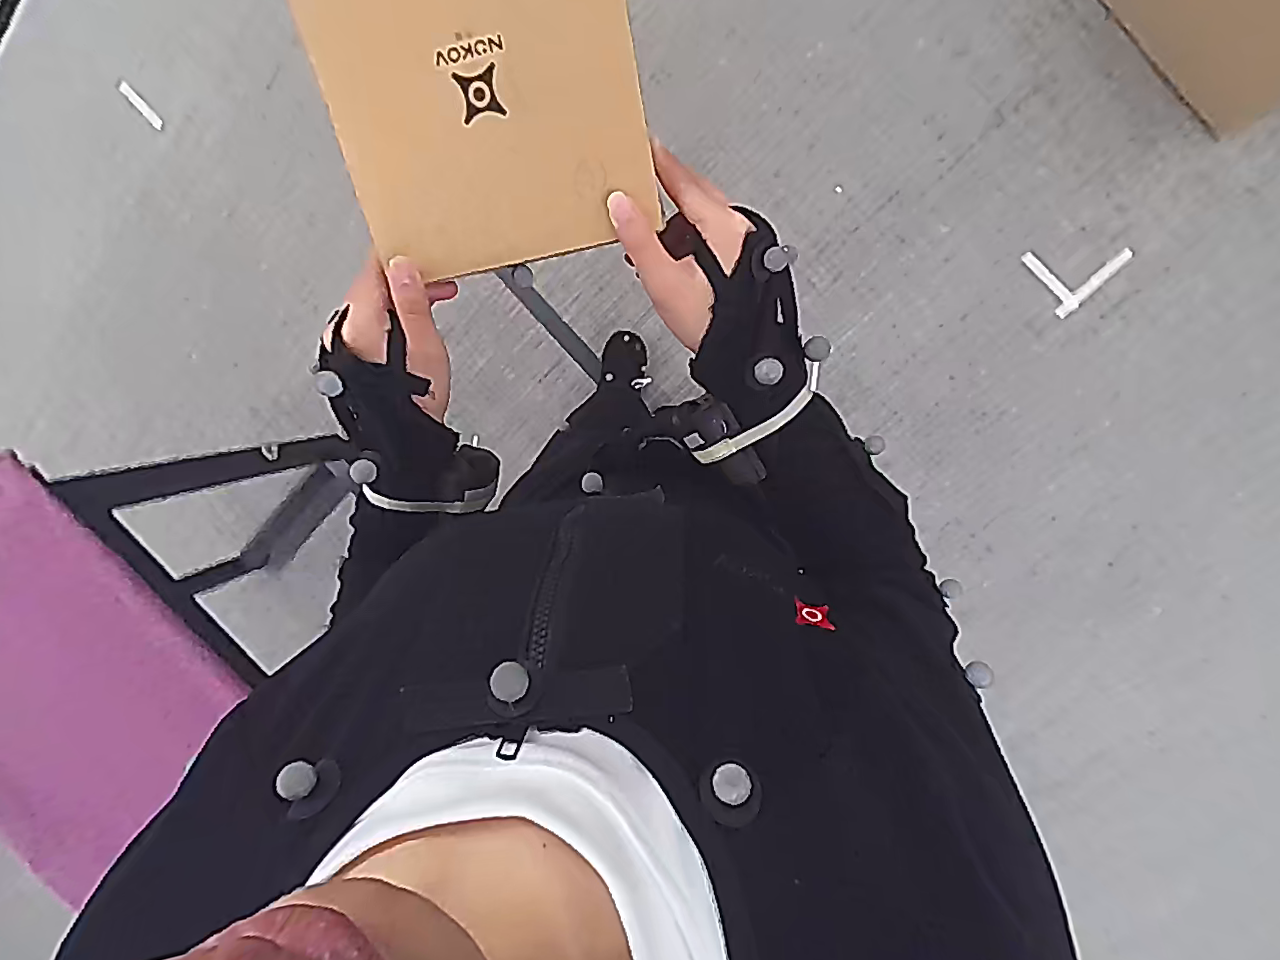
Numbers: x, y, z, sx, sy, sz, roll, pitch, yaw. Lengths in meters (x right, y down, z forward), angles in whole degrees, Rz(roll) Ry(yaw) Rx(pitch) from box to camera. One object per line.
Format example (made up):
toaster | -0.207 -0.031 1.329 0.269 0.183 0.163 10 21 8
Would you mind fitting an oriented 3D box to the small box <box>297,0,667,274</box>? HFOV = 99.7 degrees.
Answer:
small box | -0.076 -0.243 0.346 0.168 0.176 0.179 -9 112 7
